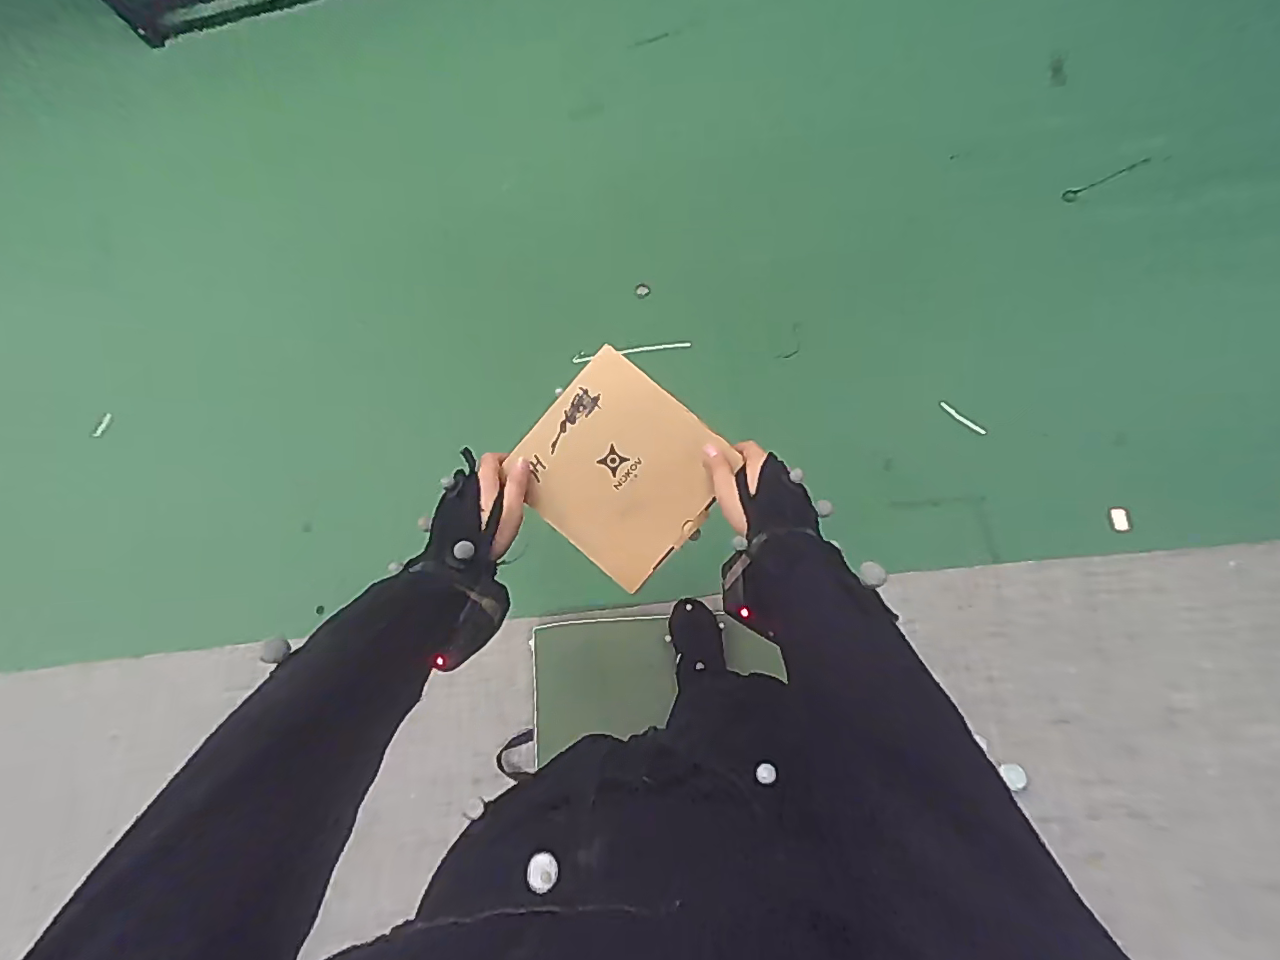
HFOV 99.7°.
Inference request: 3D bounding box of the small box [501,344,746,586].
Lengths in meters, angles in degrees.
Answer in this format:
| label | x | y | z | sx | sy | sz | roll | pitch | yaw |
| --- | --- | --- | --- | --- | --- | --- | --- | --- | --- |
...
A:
| label | x | y | z | sx | sy | sz | roll | pitch | yaw |
| --- | --- | --- | --- | --- | --- | --- | --- | --- | --- |
| small box | -0.013 | -0.012 | 0.590 | 0.179 | 0.176 | 0.168 | 41 | 88 | 4 |
